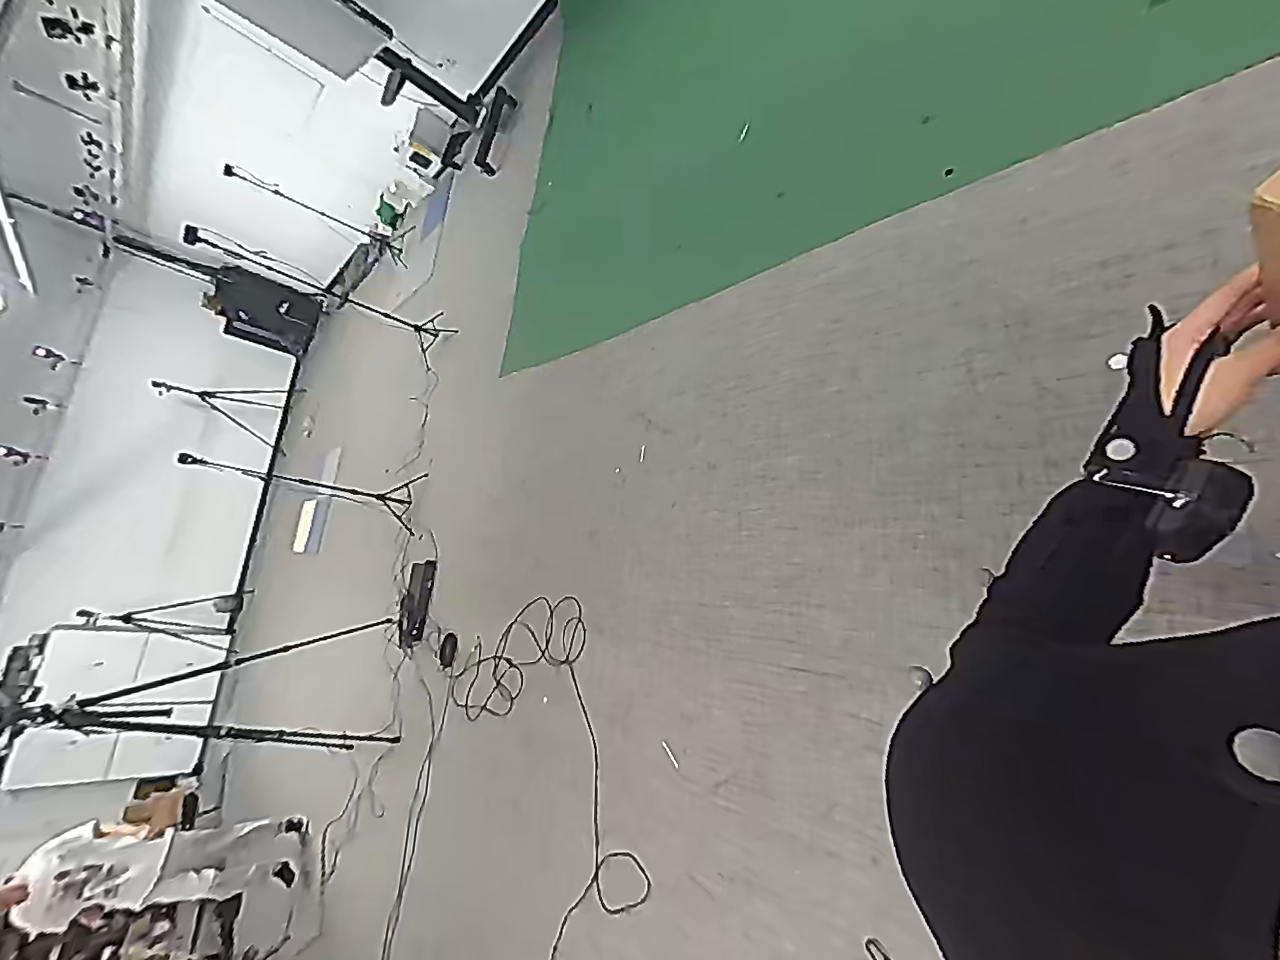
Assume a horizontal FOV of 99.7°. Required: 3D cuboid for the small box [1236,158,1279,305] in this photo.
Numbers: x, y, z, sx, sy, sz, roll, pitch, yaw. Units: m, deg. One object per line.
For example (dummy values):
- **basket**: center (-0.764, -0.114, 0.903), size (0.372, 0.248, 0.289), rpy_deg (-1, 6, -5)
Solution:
- **small box**: center (0.471, -0.134, 0.259), size (0.179, 0.176, 0.168), rpy_deg (-45, 39, 28)
